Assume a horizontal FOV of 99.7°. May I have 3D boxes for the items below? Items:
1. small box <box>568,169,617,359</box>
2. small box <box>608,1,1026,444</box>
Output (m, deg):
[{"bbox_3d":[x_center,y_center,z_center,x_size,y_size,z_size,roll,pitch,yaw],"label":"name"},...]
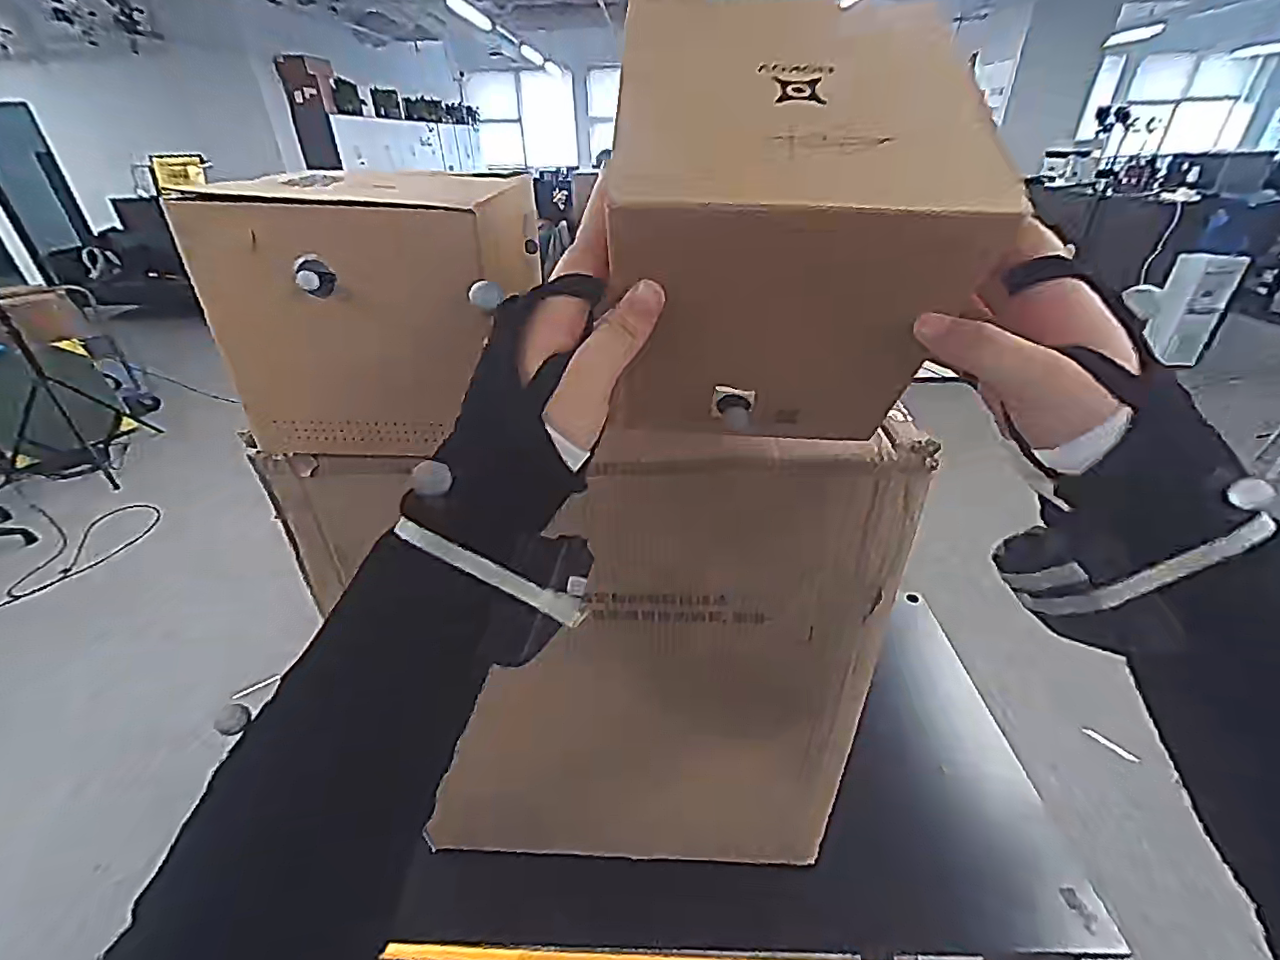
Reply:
[{"bbox_3d":[0.021,-0.234,0.575,0.168,0.176,0.179,-2,30,1],"label":"small box"},{"bbox_3d":[0.071,-0.141,0.321,0.168,0.176,0.179,1,61,2],"label":"small box"}]
